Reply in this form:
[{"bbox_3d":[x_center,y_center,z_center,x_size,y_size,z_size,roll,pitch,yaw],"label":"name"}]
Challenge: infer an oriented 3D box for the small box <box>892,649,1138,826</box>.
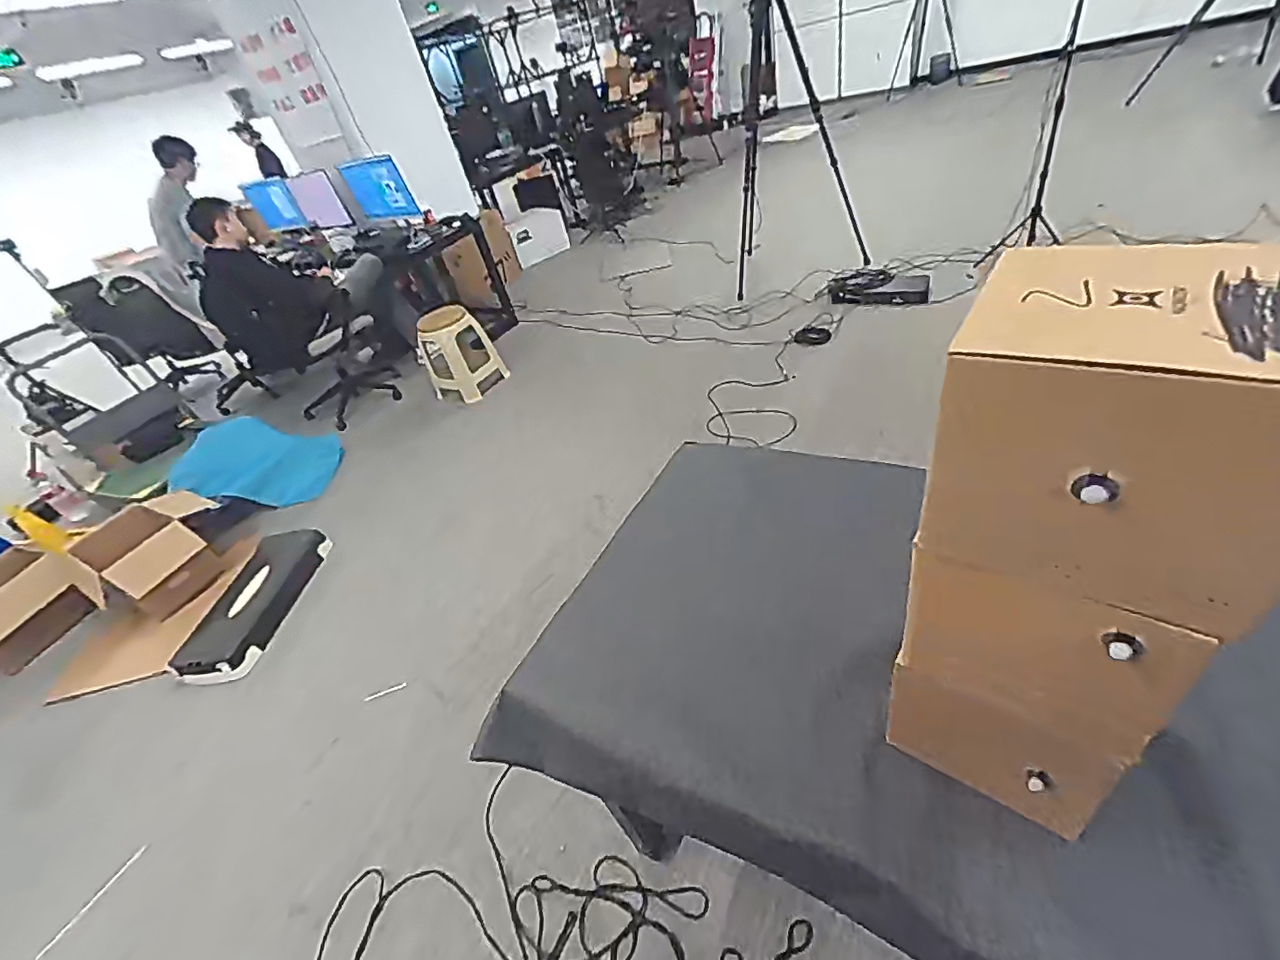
[{"bbox_3d":[0.378,0.213,0.553,0.179,0.176,0.168,18,49,37],"label":"small box"}]
